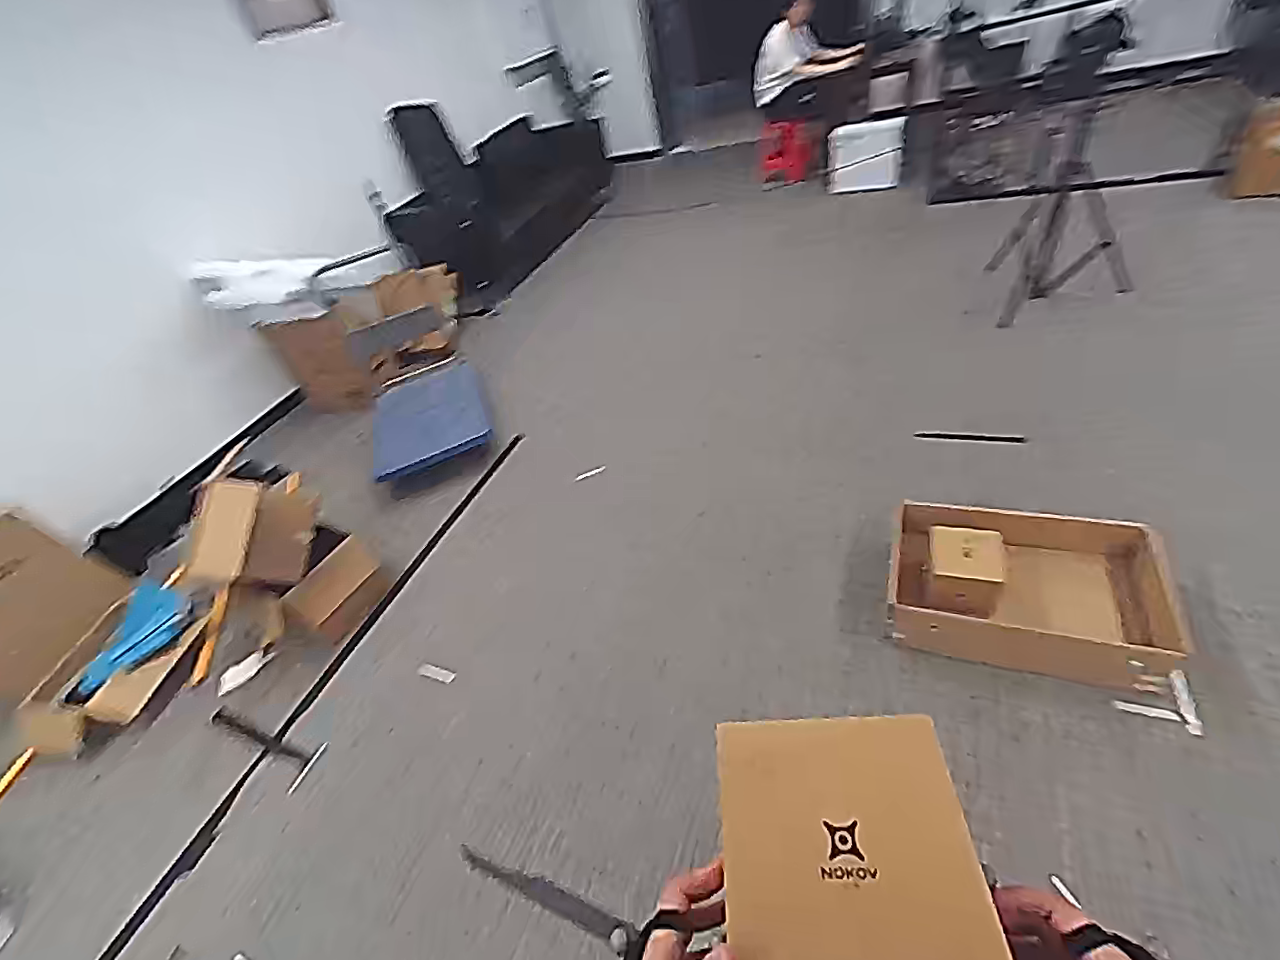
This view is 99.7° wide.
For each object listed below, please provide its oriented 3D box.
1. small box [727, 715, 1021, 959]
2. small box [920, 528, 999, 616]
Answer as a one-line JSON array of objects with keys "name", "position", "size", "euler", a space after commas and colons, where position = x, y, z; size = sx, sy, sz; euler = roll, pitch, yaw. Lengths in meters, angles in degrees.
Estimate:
[{"name": "small box", "position": [0.157, 0.303, 0.415], "size": [0.168, 0.176, 0.179], "euler": [-6, 43, 10]}, {"name": "small box", "position": [0.898, 0.262, 1.529], "size": [0.168, 0.176, 0.179], "euler": [5, 46, 22]}]
